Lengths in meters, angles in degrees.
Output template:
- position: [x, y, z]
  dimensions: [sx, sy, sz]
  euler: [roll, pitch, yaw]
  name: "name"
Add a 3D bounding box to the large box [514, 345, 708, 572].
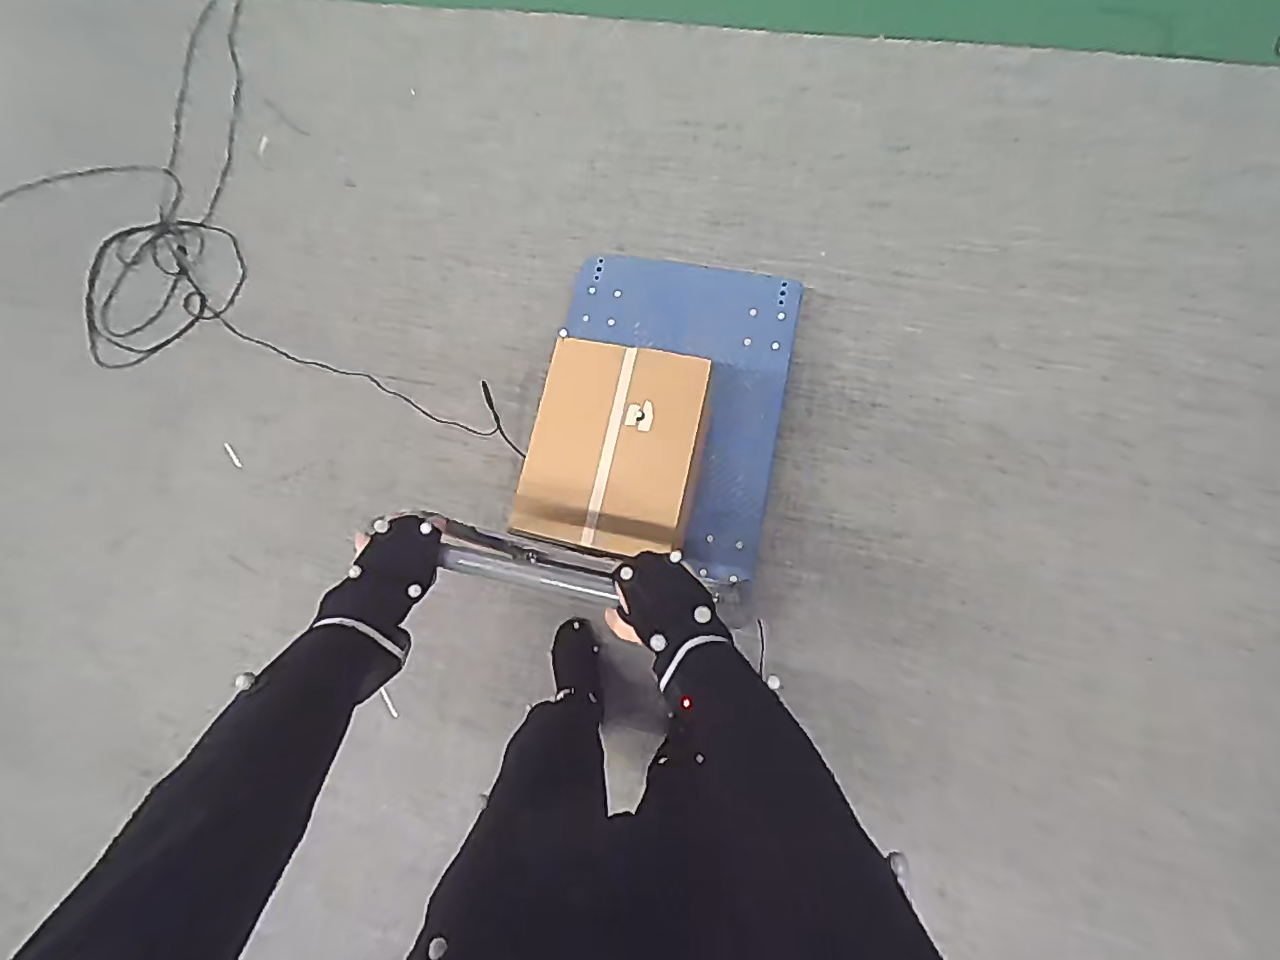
- position: [-0.038, -0.029, 1.192]
  dimensions: [0.320, 0.320, 0.408]
  euler: [11, 79, 9]
  name: "large box"
